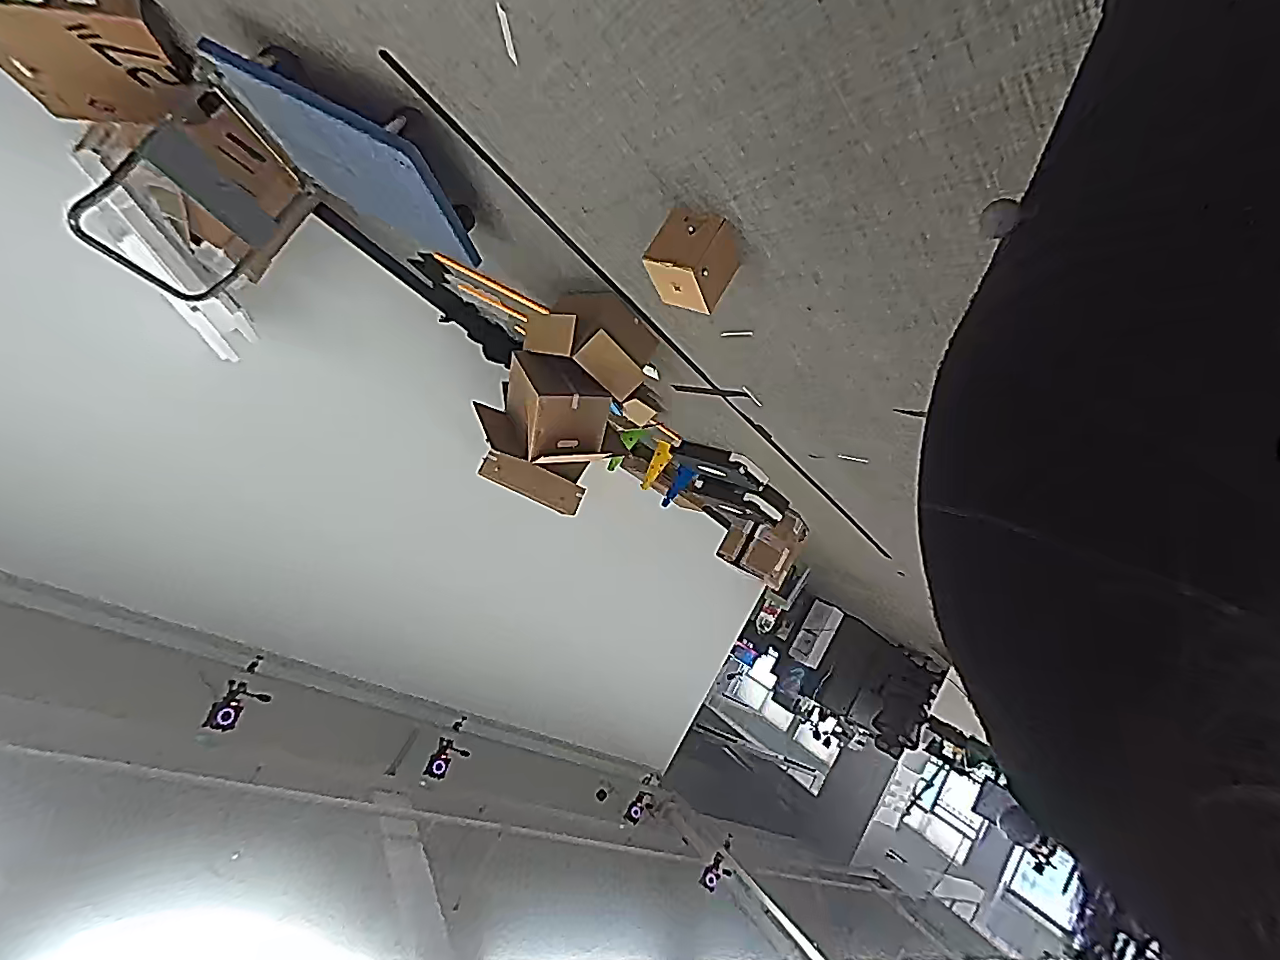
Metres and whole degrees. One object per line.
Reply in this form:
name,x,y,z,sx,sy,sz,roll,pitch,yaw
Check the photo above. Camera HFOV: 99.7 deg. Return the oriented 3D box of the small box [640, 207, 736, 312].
small box,0.135,-0.583,1.435,0.168,0.176,0.179,27,171,30
